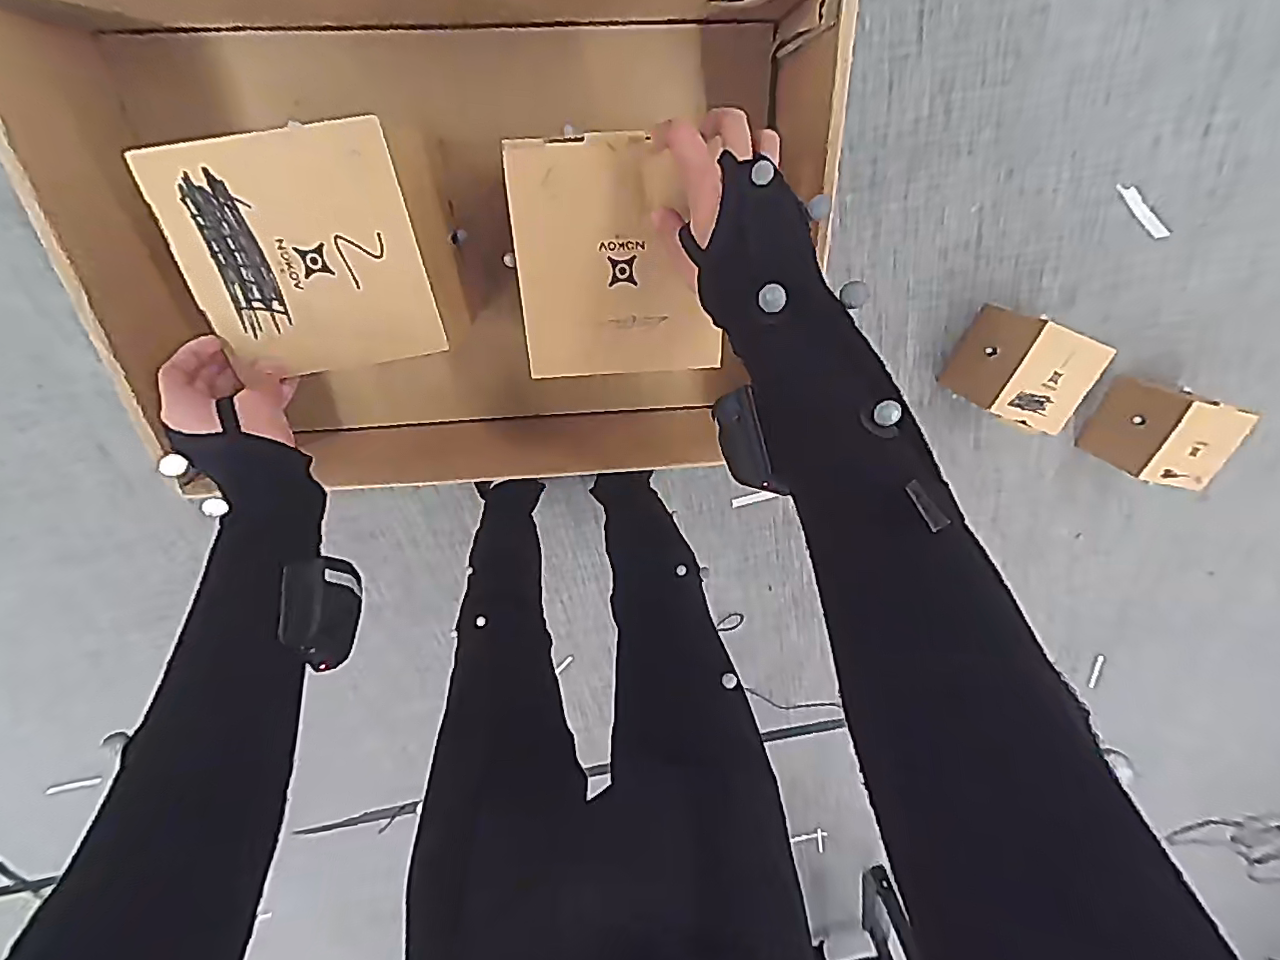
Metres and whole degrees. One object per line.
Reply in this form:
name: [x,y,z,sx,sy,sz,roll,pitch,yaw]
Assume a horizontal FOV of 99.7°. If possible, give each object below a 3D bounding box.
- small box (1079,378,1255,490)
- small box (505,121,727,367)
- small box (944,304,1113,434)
small box: [1.097,-0.103,1.145,0.168,0.176,0.179,10,115,-10]
small box: [-0.021,-0.213,0.499,0.168,0.176,0.179,-4,117,-2]
small box: [0.731,-0.219,1.047,0.168,0.176,0.179,16,115,-14]
